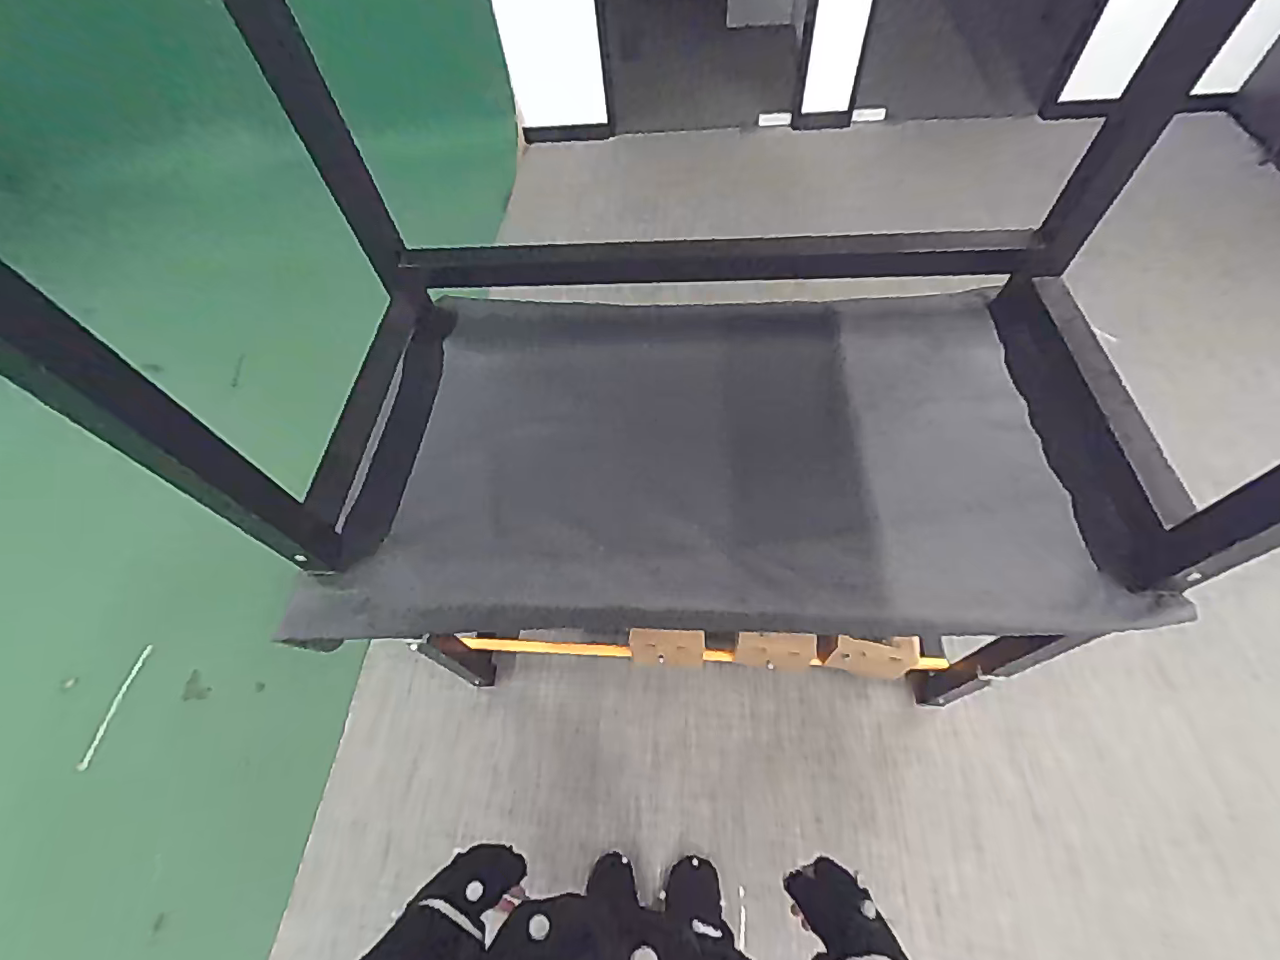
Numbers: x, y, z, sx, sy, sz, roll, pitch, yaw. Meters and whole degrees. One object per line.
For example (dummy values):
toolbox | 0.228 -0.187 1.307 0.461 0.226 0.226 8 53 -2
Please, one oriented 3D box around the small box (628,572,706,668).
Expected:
small box | 0.066 0.334 1.280 0.168 0.176 0.179 3 60 6
